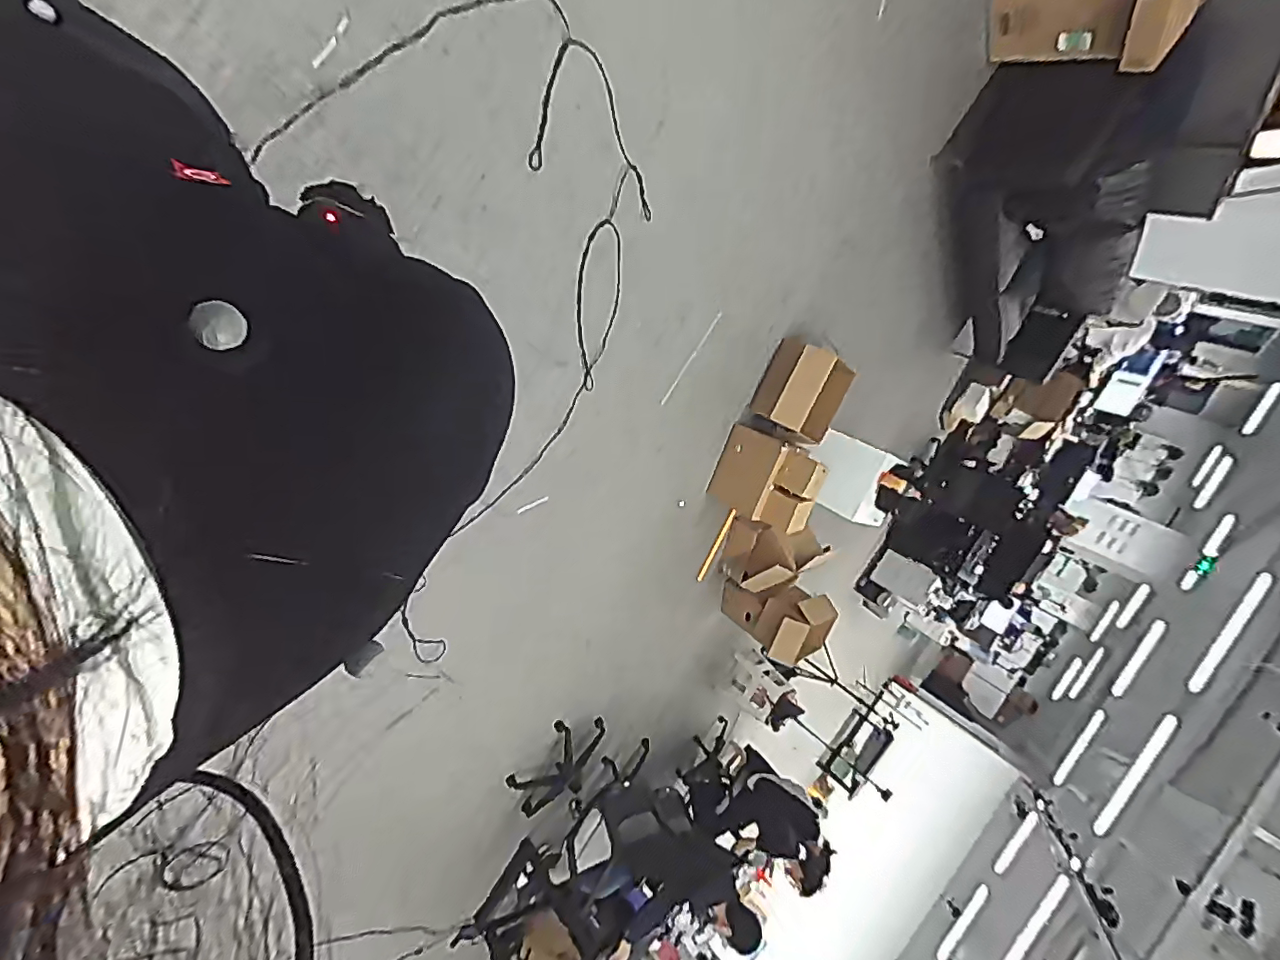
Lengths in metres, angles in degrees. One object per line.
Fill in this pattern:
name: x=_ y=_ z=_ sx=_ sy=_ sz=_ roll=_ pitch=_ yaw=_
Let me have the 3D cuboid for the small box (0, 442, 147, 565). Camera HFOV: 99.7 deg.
small box: x=-1.133 y=0.046 z=1.079 sx=0.168 sy=0.176 sz=0.179 roll=21 pitch=100 yaw=-53
